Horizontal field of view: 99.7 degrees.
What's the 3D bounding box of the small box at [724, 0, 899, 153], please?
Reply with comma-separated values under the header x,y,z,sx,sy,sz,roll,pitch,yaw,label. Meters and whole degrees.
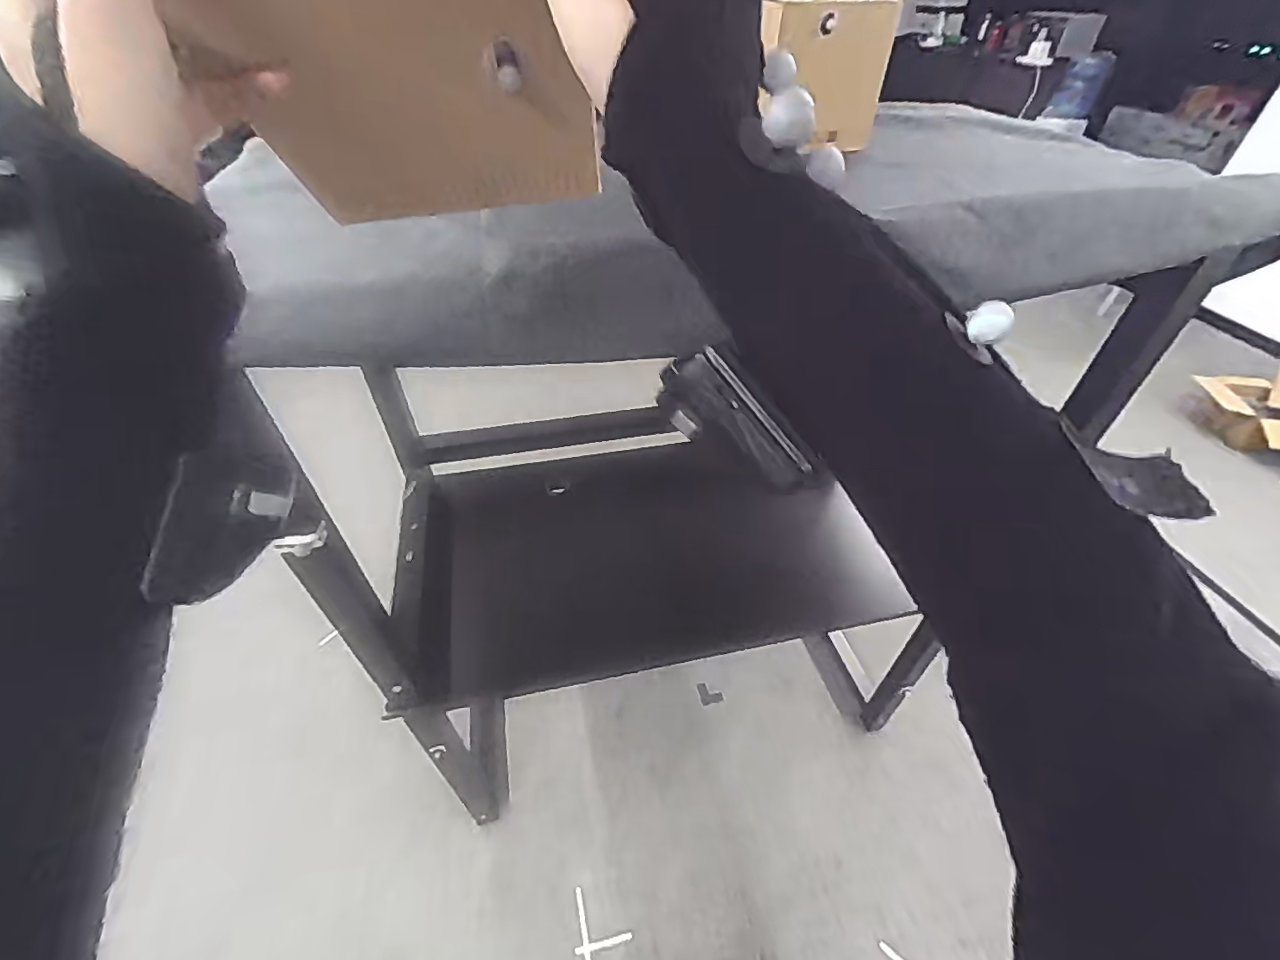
x,y,z,sx,sy,sz,roll,pitch,yaw,label
0.231,-0.587,0.784,0.168,0.176,0.179,-9,43,-10,small box
